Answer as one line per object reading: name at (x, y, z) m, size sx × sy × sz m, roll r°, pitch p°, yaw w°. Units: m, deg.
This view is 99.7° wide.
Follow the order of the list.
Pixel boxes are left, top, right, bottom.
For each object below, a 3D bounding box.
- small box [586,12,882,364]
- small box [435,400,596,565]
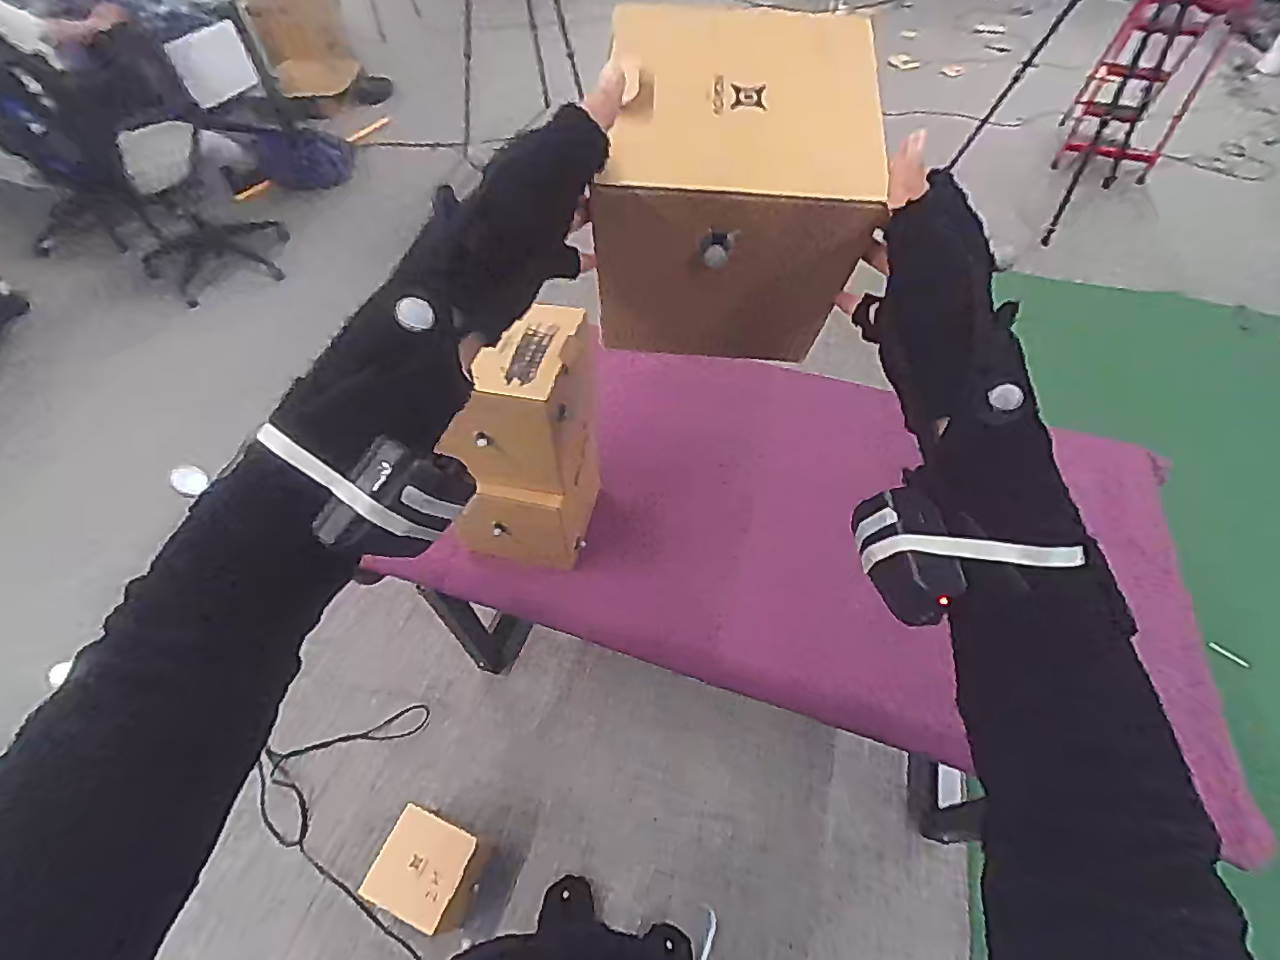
small box at (0.060, -0.205, 0.415) m, size 0.179 × 0.176 × 0.168 m, roll 4°, pitch 70°, yaw 1°
small box at (-0.170, 0.009, 0.810) m, size 0.179 × 0.176 × 0.168 m, roll 11°, pitch 53°, yaw 8°
